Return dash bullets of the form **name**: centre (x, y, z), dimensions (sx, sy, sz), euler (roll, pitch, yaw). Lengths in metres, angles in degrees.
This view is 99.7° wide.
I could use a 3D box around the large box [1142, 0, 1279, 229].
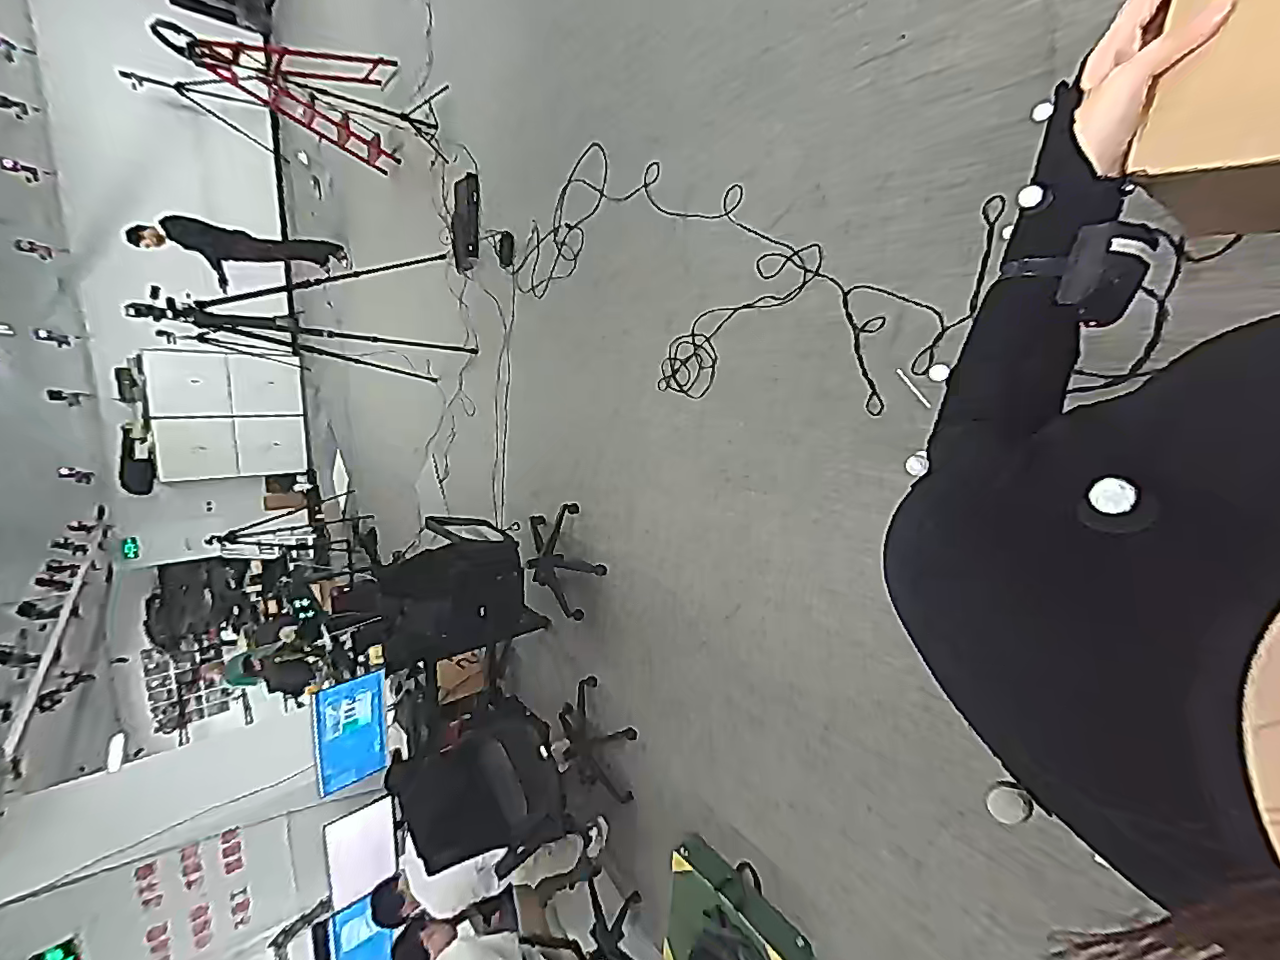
- **large box**: centre (0.605, -0.347, 0.302), dimensions (0.408, 0.320, 0.320), euler (21, 115, 46)
